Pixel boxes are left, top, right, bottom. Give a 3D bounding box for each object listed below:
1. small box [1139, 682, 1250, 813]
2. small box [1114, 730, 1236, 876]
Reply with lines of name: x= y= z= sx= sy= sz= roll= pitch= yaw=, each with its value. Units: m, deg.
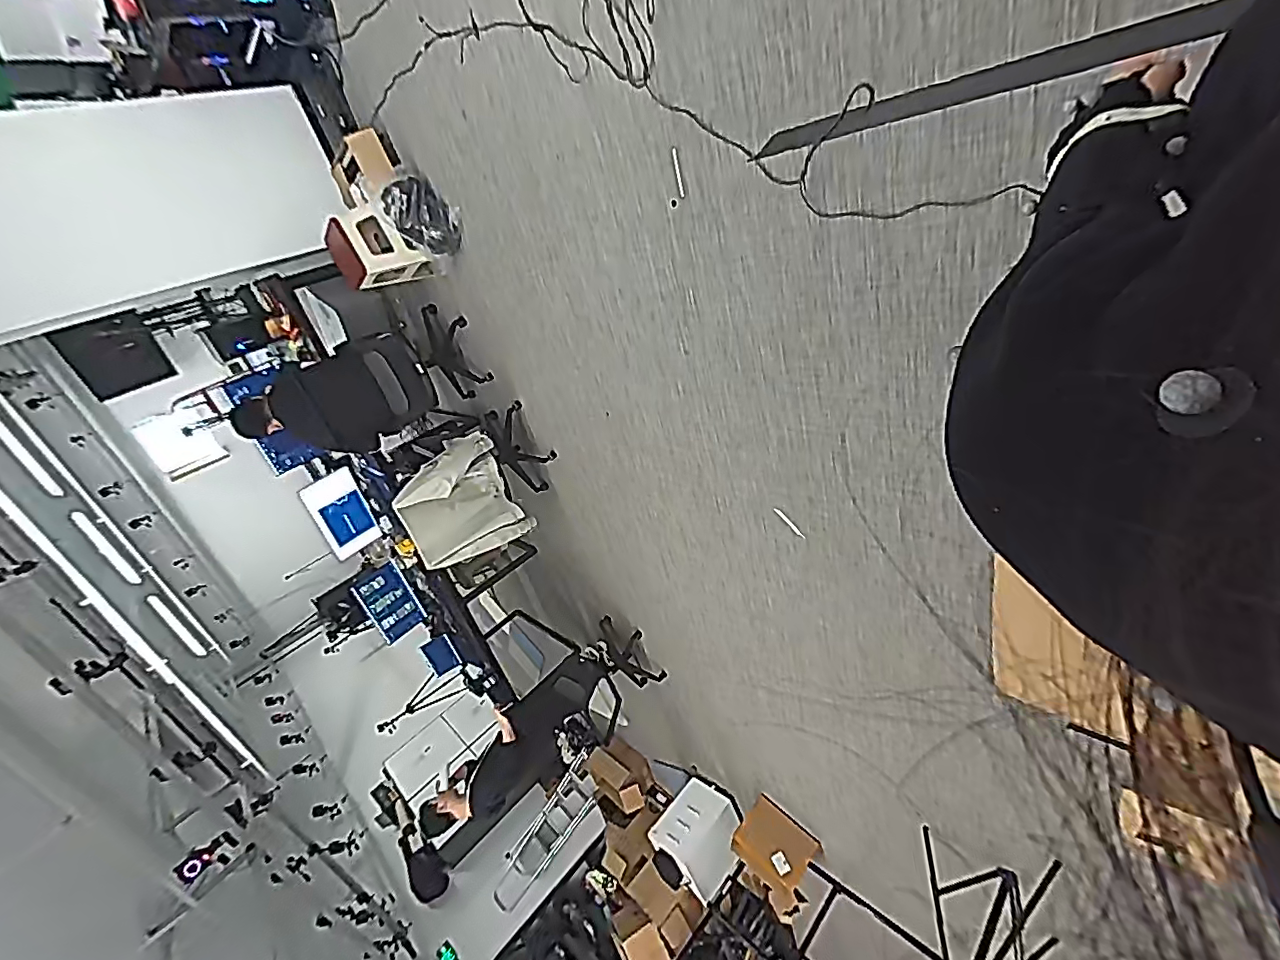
small box: x=1.279 y=0.610 z=1.253 sx=0.168 sy=0.176 sz=0.179 roll=9 pitch=127 yaw=48
small box: x=1.159 y=0.690 z=1.173 sx=0.168 sy=0.176 sz=0.179 roll=9 pitch=126 yaw=49
